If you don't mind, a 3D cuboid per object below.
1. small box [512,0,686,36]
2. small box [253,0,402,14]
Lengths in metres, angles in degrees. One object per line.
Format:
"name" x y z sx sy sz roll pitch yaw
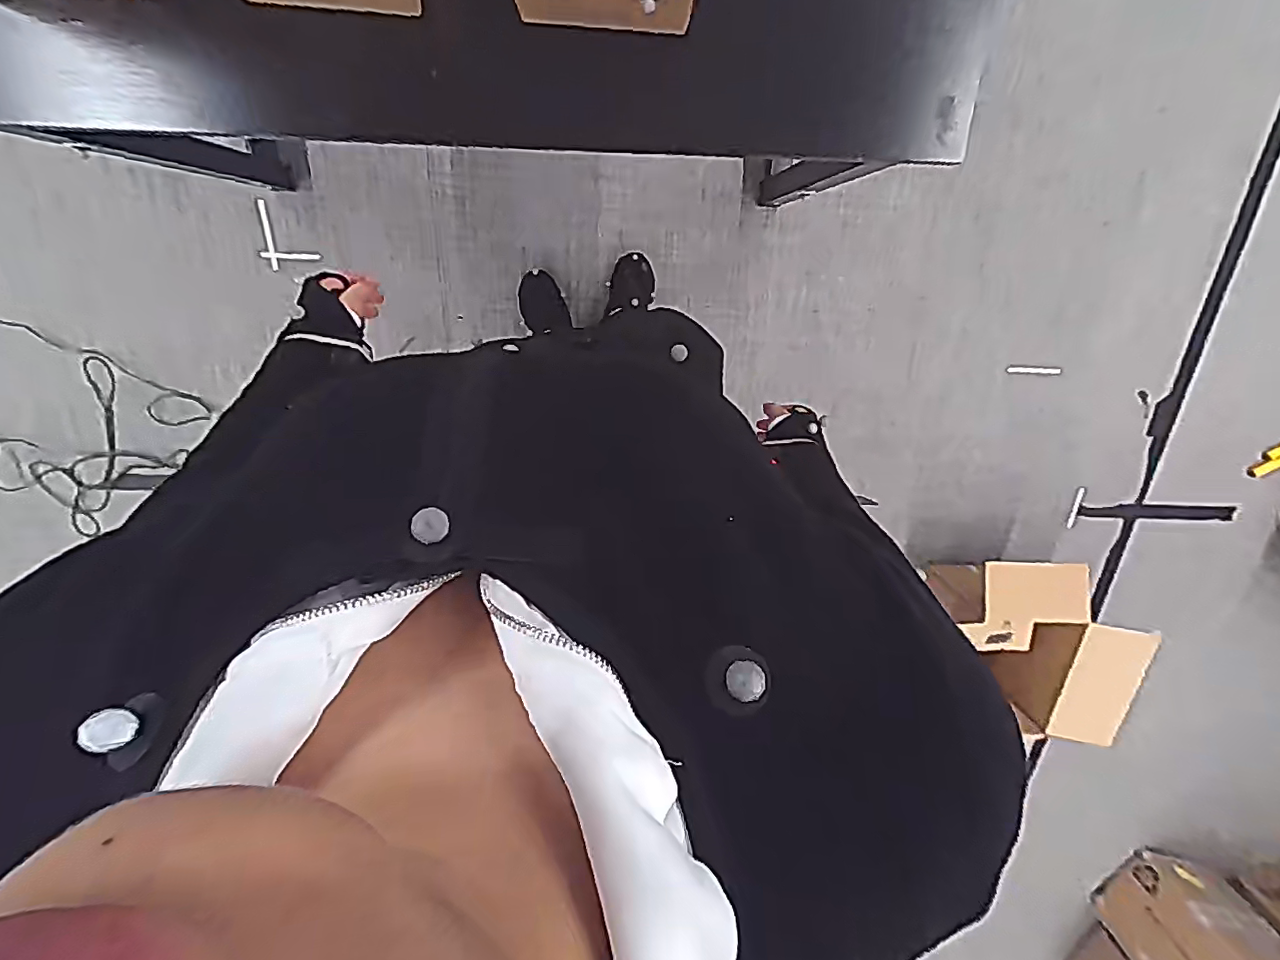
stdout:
"small box" -0.035 -0.527 0.477 0.179 0.176 0.168 1 110 -2
"small box" -0.308 -0.532 0.456 0.179 0.176 0.168 2 111 -4
